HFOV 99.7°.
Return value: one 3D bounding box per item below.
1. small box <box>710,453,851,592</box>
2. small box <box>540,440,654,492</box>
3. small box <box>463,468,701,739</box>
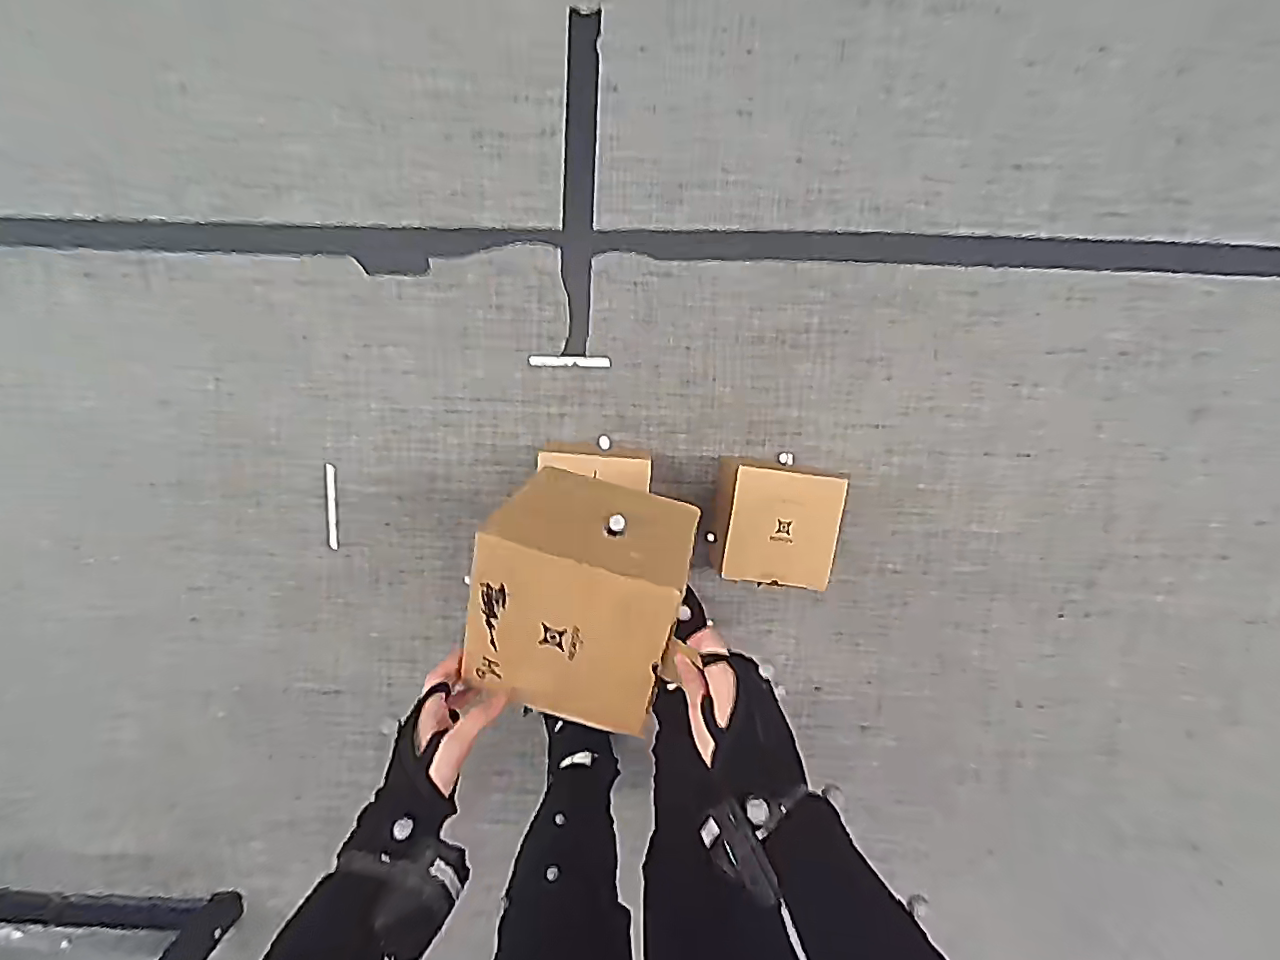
[{"bbox_3d":[0.214,0.060,0.876,0.168,0.176,0.179,8,98,-2],"label":"small box"},{"bbox_3d":[-0.067,0.035,0.867,0.168,0.176,0.179,5,98,-2],"label":"small box"},{"bbox_3d":[-0.045,0.104,0.521,0.179,0.176,0.168,15,113,4],"label":"small box"}]
